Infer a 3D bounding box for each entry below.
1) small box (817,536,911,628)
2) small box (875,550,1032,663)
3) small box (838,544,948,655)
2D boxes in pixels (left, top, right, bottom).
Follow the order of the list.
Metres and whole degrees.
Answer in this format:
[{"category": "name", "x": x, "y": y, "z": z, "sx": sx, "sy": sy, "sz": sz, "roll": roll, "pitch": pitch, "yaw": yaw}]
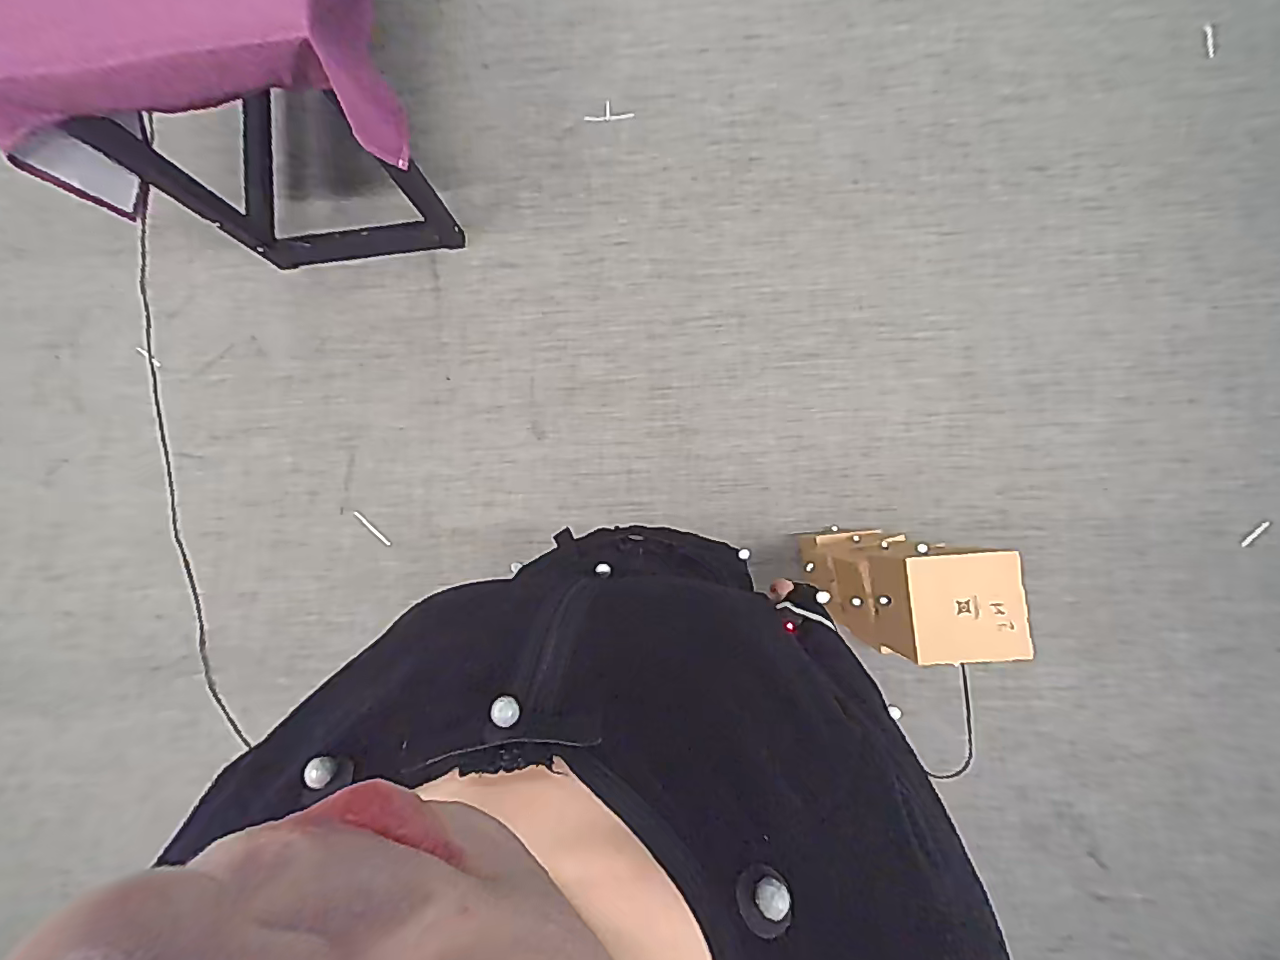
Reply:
[{"category": "small box", "x": 0.520, "y": 0.227, "z": 1.238, "sx": 0.179, "sy": 0.176, "sz": 0.168, "roll": -15, "pitch": 85, "yaw": 1}, {"category": "small box", "x": 0.510, "y": 0.206, "z": 0.911, "sx": 0.179, "sy": 0.176, "sz": 0.168, "roll": -3, "pitch": 85, "yaw": 4}, {"category": "small box", "x": 0.513, "y": 0.229, "z": 1.074, "sx": 0.168, "sy": 0.176, "sz": 0.179, "roll": -12, "pitch": 84, "yaw": 3}]
